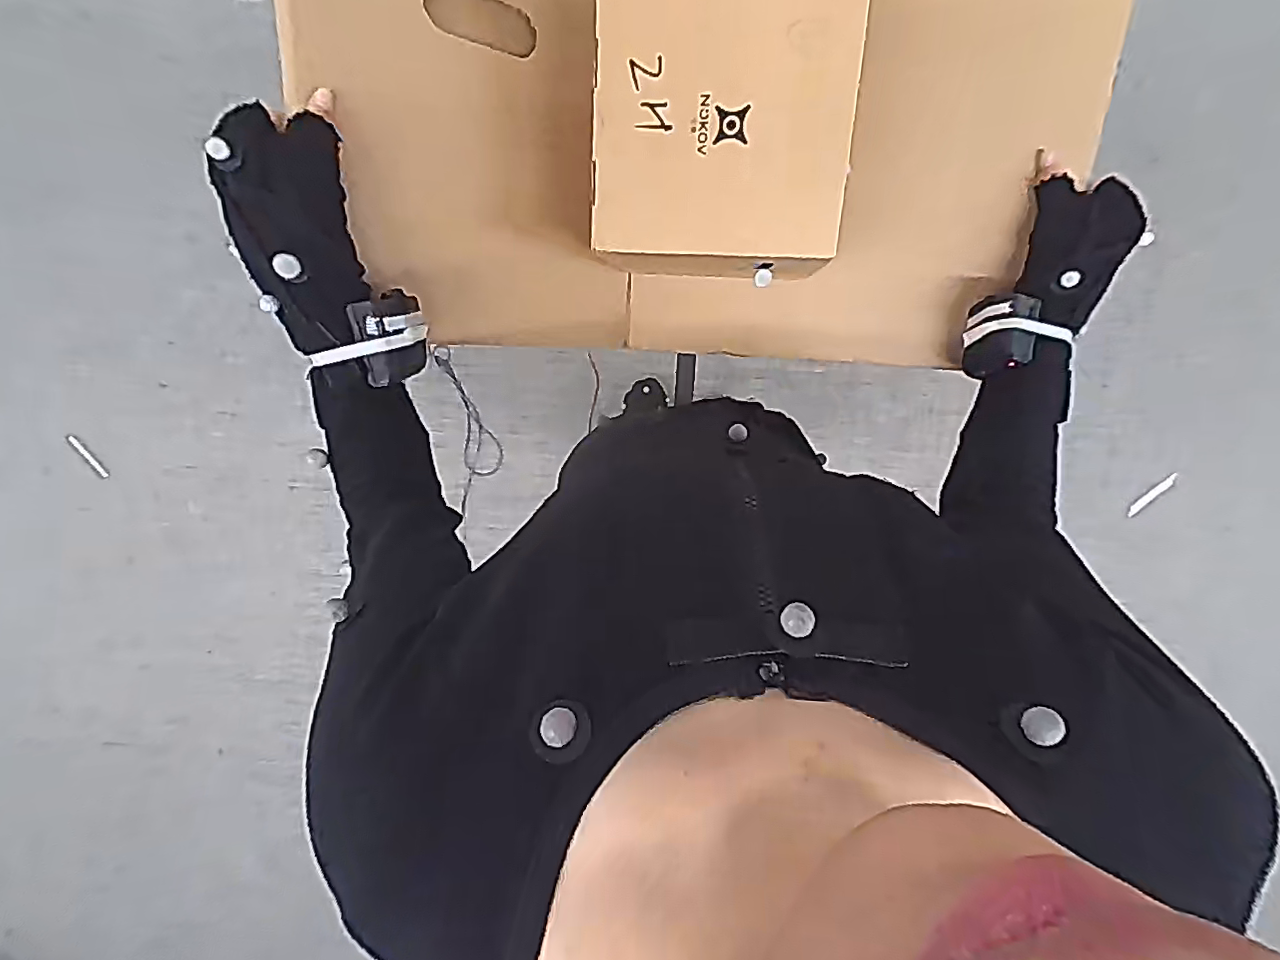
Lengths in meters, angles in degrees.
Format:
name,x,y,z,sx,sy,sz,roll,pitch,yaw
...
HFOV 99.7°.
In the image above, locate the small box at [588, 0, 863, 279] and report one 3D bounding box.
name,x,y,z,sx,sy,sz,roll,pitch,yaw
small box,0.064,-0.264,0.448,0.179,0.176,0.168,6,106,9
